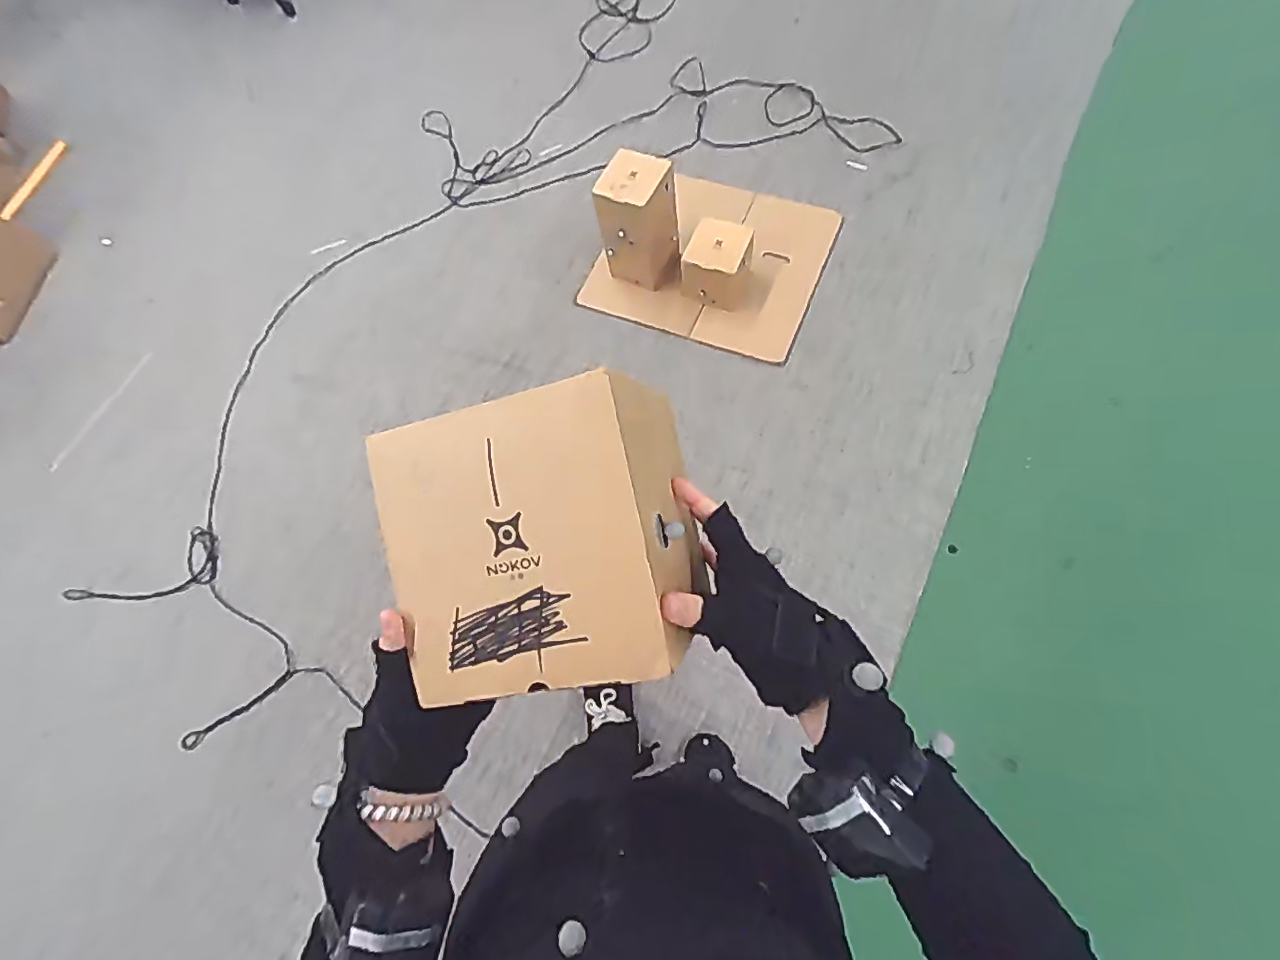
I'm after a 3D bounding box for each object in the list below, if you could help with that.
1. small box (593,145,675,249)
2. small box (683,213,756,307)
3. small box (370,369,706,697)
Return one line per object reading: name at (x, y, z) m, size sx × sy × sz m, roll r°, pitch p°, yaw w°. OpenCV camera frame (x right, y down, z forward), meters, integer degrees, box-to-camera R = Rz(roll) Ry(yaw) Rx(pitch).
small box at (-0.010, -0.794, 1.526) m, size 0.168 × 0.176 × 0.179 m, roll 24°, pitch 75°, yaw 15°
small box at (0.234, -0.657, 1.626) m, size 0.168 × 0.176 × 0.179 m, roll 20°, pitch 74°, yaw 13°
small box at (-0.056, 0.033, 0.397) m, size 0.168 × 0.176 × 0.179 m, roll -13°, pitch 89°, yaw 15°
